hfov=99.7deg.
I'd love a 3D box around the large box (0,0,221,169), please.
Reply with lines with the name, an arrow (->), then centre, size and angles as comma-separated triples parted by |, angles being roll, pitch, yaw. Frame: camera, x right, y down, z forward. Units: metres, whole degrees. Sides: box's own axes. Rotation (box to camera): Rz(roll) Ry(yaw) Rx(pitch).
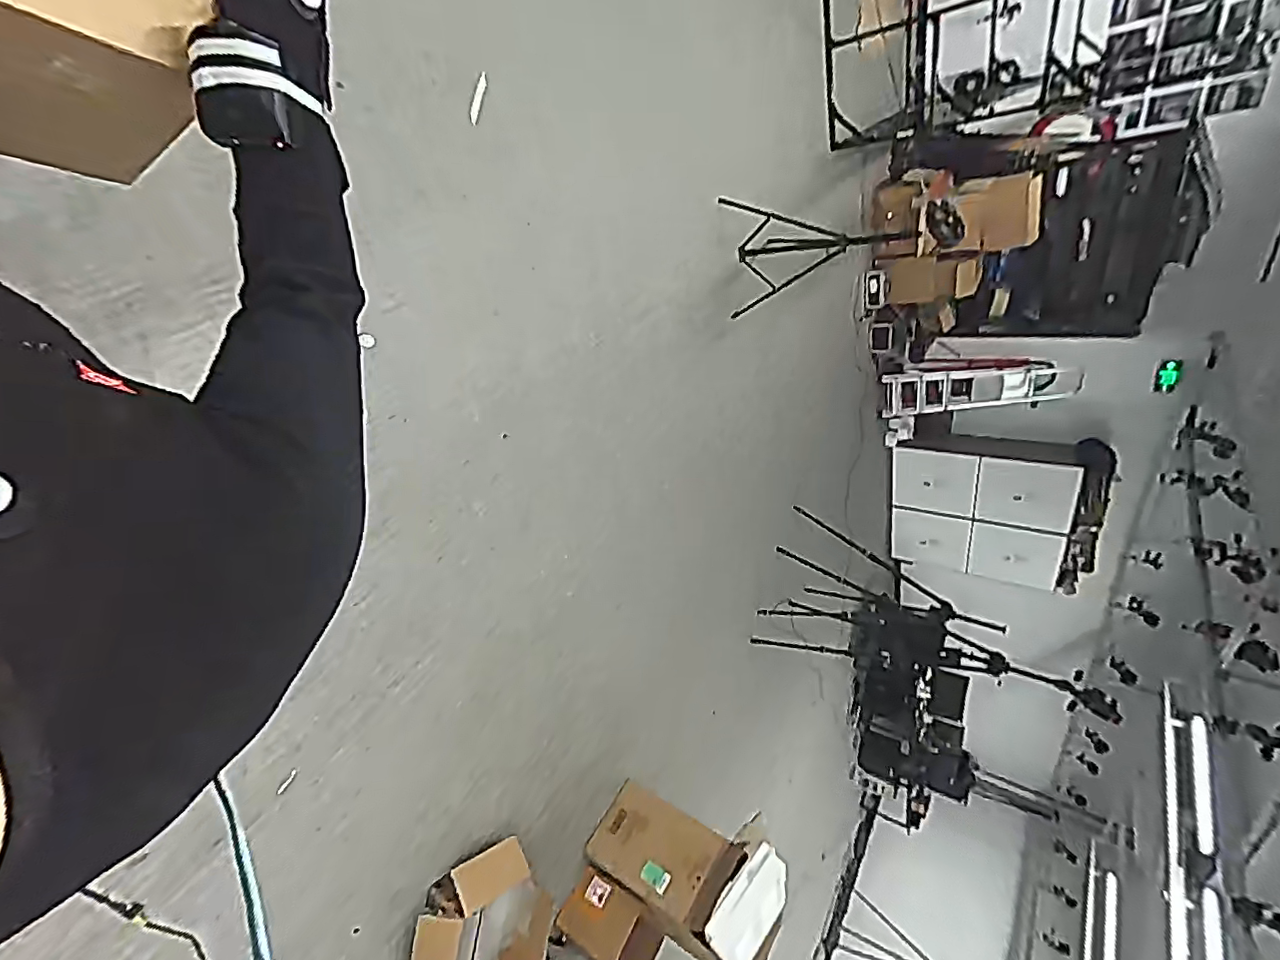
large box -> -0.546, -0.437, 0.306 | 0.408, 0.320, 0.320 | -10, 104, -52
